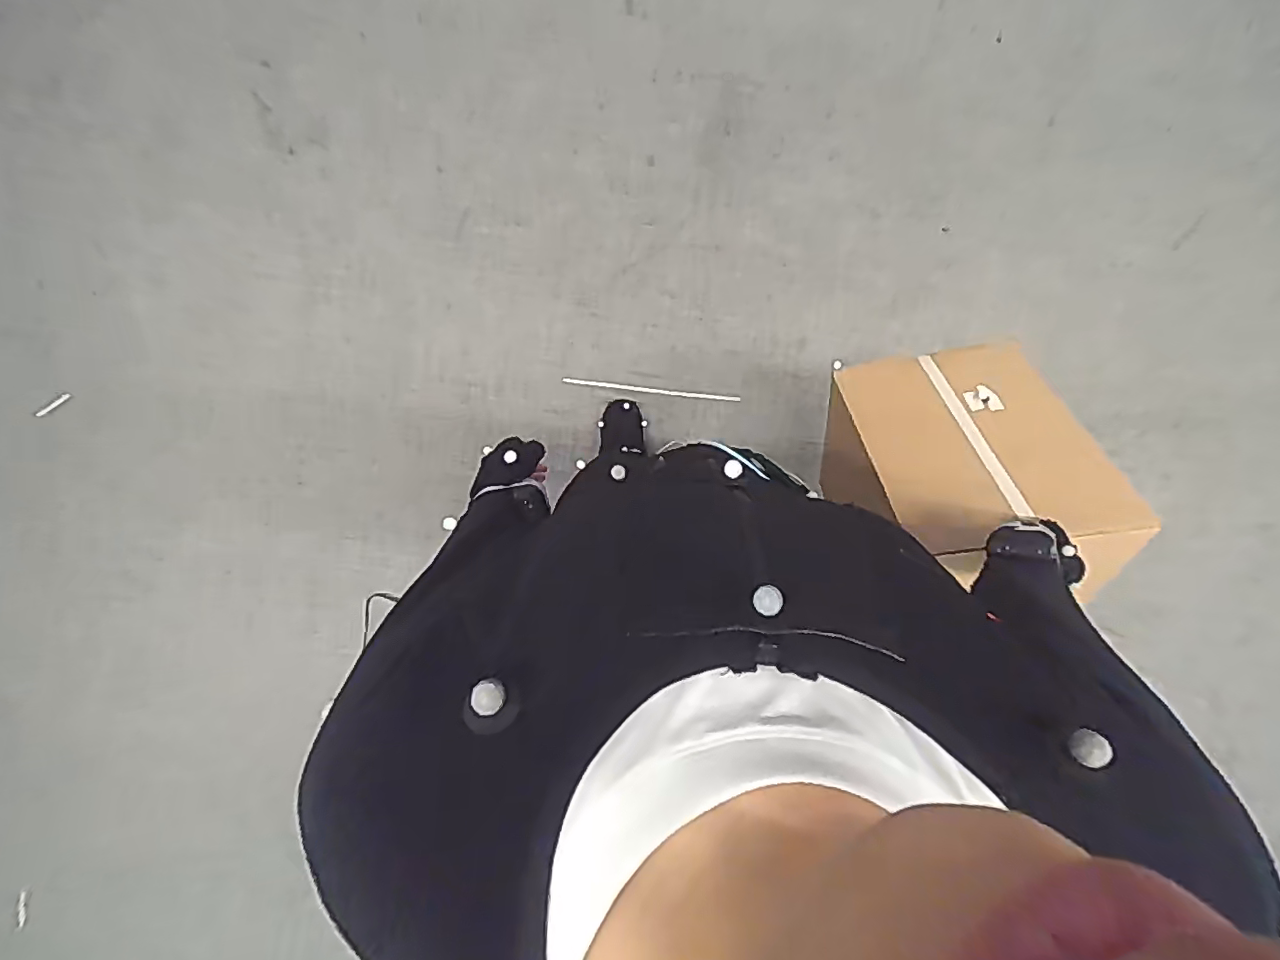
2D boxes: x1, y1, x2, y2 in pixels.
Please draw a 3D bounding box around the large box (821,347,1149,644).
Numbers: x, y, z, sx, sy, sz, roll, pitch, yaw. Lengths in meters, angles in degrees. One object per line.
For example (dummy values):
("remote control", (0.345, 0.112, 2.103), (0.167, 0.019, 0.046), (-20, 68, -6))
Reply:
("large box", (0.537, 0.027, 0.961), (0.320, 0.408, 0.320), (-7, 138, 5))
